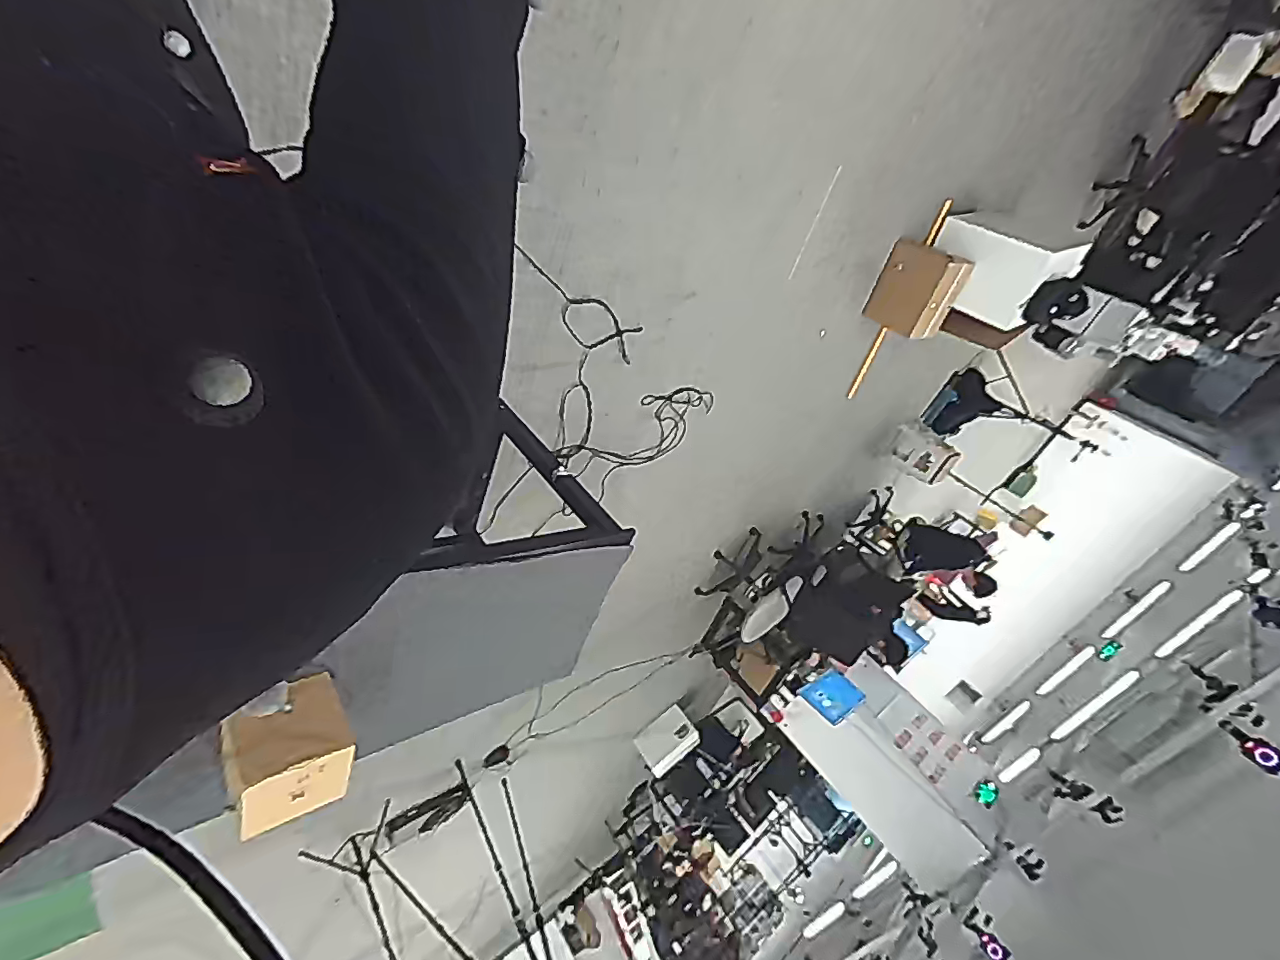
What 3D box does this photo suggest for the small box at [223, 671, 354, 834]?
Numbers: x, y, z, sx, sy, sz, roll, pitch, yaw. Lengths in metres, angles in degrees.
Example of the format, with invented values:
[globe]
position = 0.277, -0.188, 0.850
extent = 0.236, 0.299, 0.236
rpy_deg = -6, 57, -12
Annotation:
[small box]
position = -0.642, 0.485, 0.983
extent = 0.168, 0.176, 0.179
rpy_deg = -7, 131, -44
